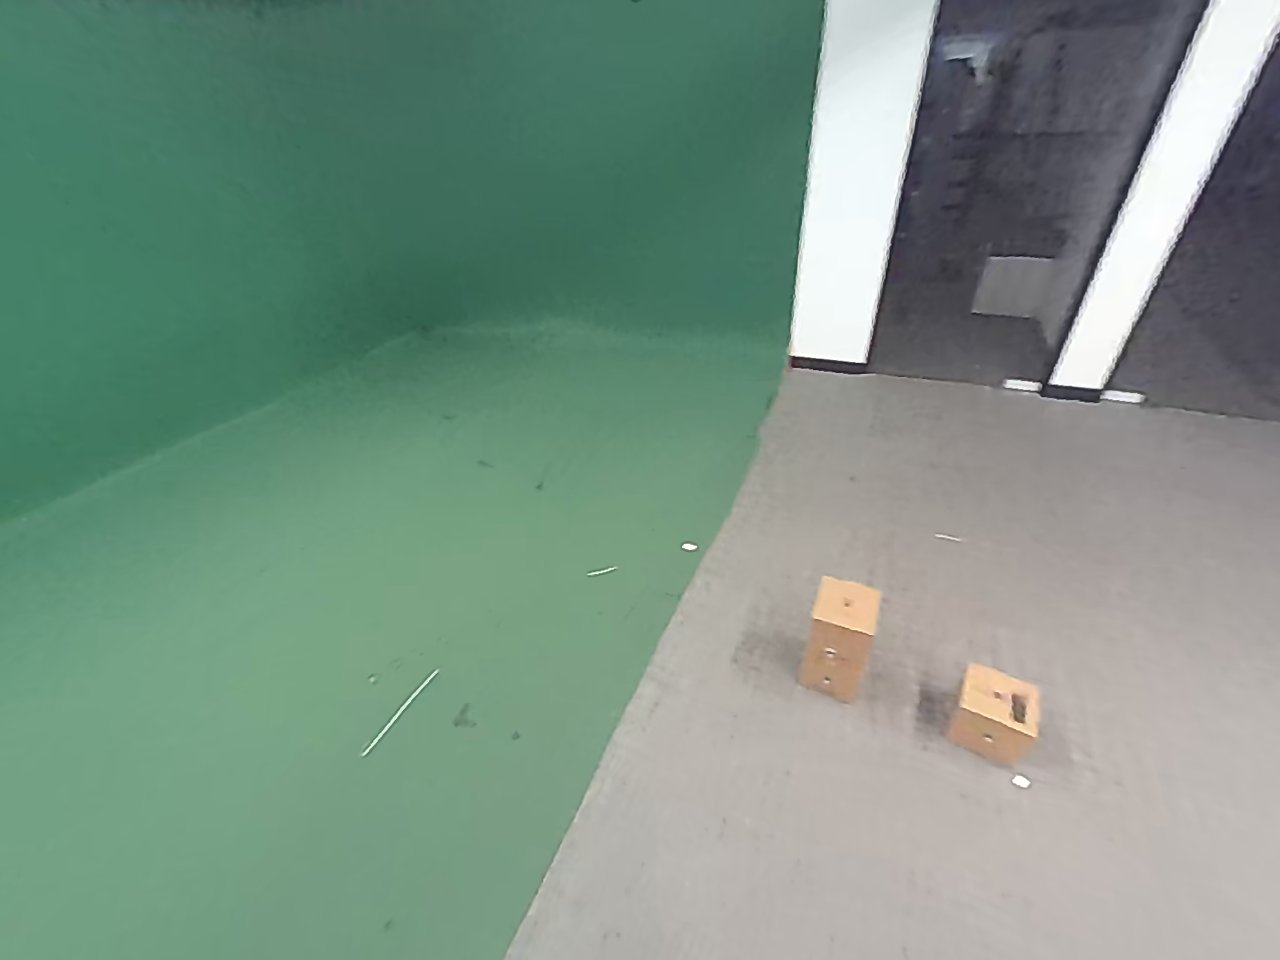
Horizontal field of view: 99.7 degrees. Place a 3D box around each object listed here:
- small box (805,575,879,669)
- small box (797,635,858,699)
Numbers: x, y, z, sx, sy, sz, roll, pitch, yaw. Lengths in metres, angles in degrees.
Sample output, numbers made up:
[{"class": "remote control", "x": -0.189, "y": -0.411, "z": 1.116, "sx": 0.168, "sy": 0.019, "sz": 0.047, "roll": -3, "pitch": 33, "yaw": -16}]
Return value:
[{"class": "small box", "x": 0.587, "y": 0.413, "z": 1.579, "sx": 0.168, "sy": 0.176, "sz": 0.179, "roll": 12, "pitch": 40, "yaw": 23}, {"class": "small box", "x": 0.595, "y": 0.542, "z": 1.679, "sx": 0.168, "sy": 0.176, "sz": 0.179, "roll": 16, "pitch": 42, "yaw": 25}]
